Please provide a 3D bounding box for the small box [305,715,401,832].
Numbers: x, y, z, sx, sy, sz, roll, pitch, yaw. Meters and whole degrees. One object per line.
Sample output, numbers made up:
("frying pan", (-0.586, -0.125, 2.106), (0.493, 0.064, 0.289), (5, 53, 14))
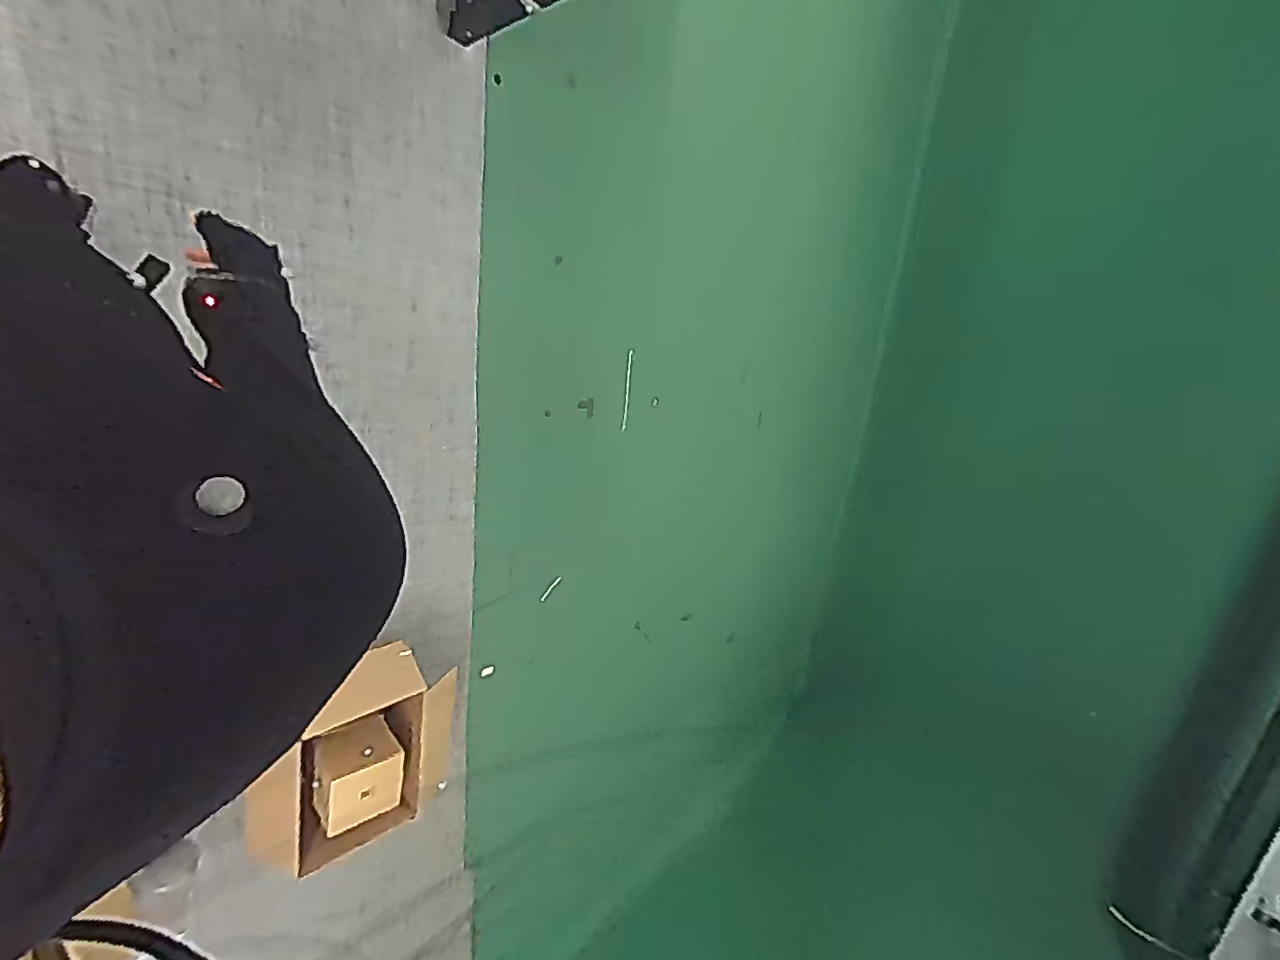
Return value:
("small box", (-0.744, 0.746, 1.396), (0.179, 0.176, 0.168), (-4, 109, -47))
